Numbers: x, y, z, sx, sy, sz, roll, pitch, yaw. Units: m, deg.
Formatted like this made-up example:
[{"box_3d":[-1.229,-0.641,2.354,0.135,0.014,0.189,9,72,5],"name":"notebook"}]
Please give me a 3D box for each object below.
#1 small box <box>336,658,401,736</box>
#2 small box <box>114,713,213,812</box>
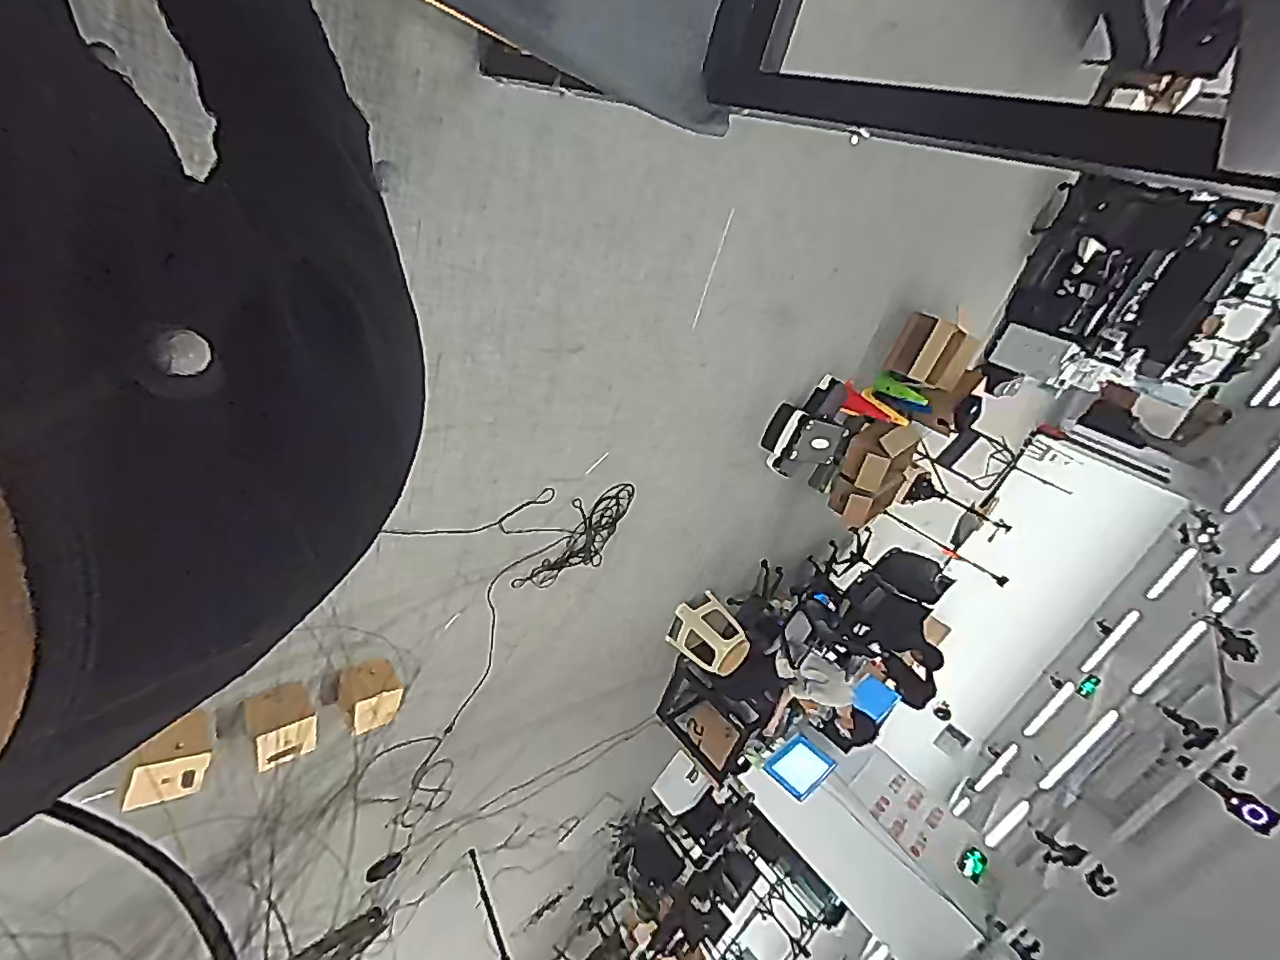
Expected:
[{"box_3d":[-1.008,0.796,1.998,0.168,0.176,0.179,-8,125,-46],"name":"small box"},{"box_3d":[-1.385,0.808,1.569,0.179,0.176,0.168,12,110,-51],"name":"small box"}]
